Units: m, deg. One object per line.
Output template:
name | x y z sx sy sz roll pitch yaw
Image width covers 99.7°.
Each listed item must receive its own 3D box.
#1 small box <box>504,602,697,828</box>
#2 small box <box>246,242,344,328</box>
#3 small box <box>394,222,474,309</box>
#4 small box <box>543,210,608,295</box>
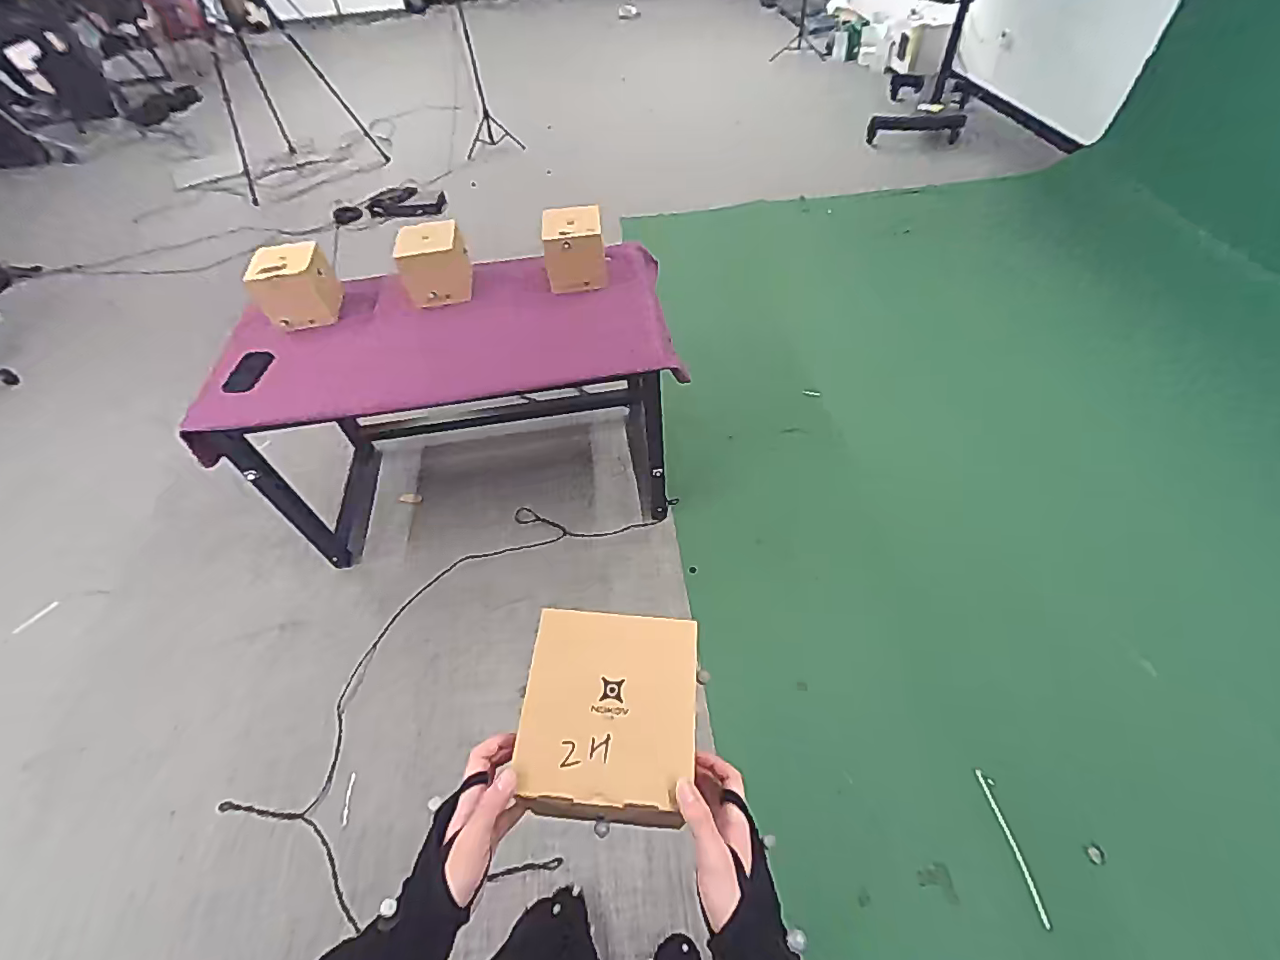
small box | -0.031 0.252 0.578 0.168 0.176 0.179 4 52 3
small box | -0.974 -0.551 1.547 0.168 0.176 0.179 -11 50 -5
small box | -0.594 -0.626 1.585 0.168 0.176 0.179 -9 52 -2
small box | -0.185 -0.667 1.588 0.168 0.176 0.179 -7 50 0
